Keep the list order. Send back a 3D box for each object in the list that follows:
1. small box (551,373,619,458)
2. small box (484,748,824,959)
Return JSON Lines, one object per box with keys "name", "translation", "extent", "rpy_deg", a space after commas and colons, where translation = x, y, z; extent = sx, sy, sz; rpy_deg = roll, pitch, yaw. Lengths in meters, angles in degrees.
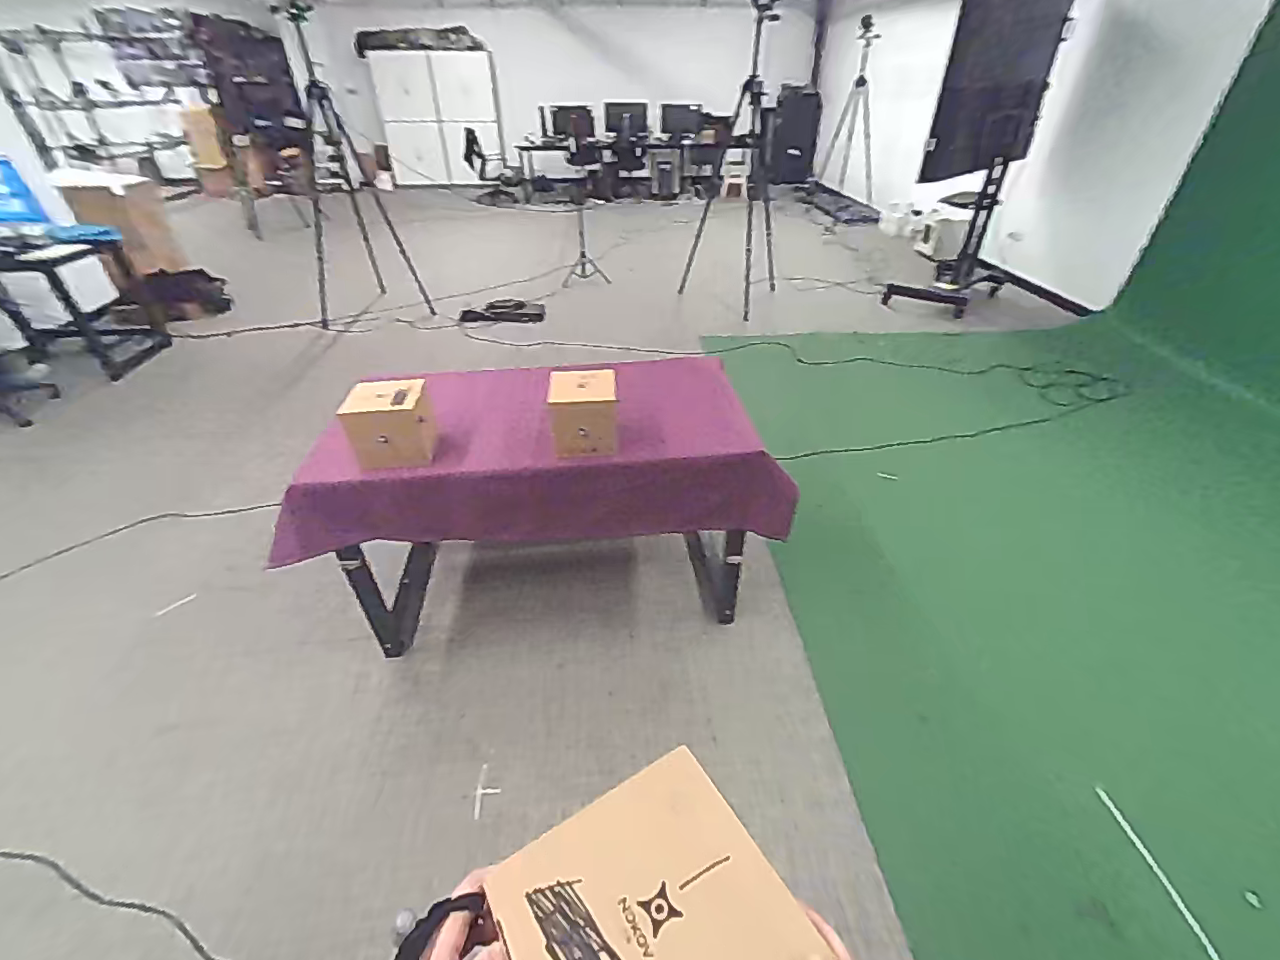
{"name": "small box", "translation": [-0.140, -0.169, 1.436], "extent": [0.168, 0.176, 0.179], "rpy_deg": [-2, 36, -3]}
{"name": "small box", "translation": [0.008, 0.353, 0.403], "extent": [0.179, 0.176, 0.168], "rpy_deg": [-21, 39, -24]}
